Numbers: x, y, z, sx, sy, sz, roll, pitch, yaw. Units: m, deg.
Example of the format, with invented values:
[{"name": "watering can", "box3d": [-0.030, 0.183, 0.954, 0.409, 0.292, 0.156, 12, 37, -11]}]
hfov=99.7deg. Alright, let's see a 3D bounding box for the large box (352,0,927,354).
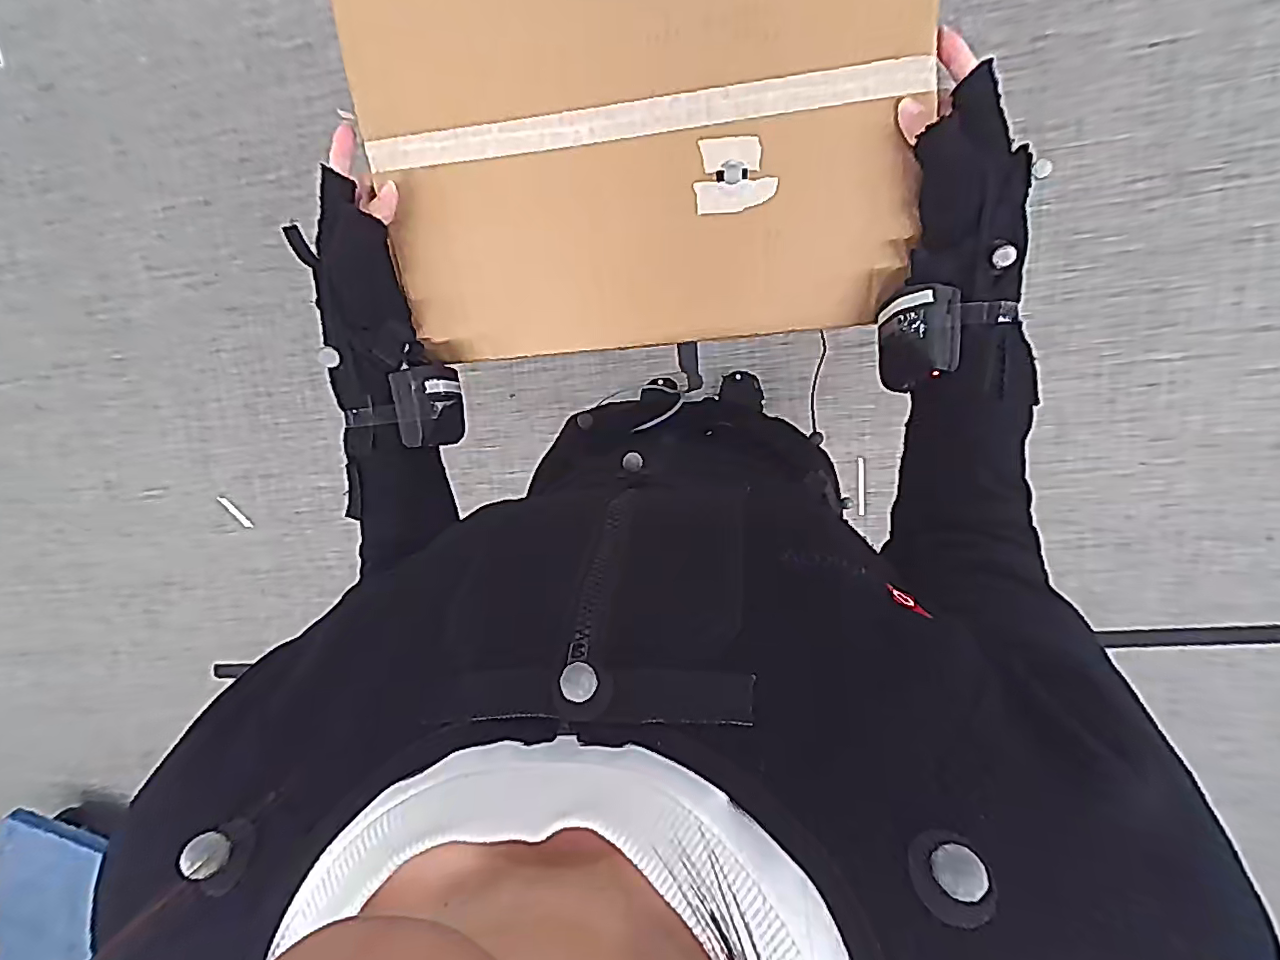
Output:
[{"name": "large box", "box3d": [0.010, -0.317, 0.536, 0.408, 0.320, 0.320, -4, 109, 6]}]
